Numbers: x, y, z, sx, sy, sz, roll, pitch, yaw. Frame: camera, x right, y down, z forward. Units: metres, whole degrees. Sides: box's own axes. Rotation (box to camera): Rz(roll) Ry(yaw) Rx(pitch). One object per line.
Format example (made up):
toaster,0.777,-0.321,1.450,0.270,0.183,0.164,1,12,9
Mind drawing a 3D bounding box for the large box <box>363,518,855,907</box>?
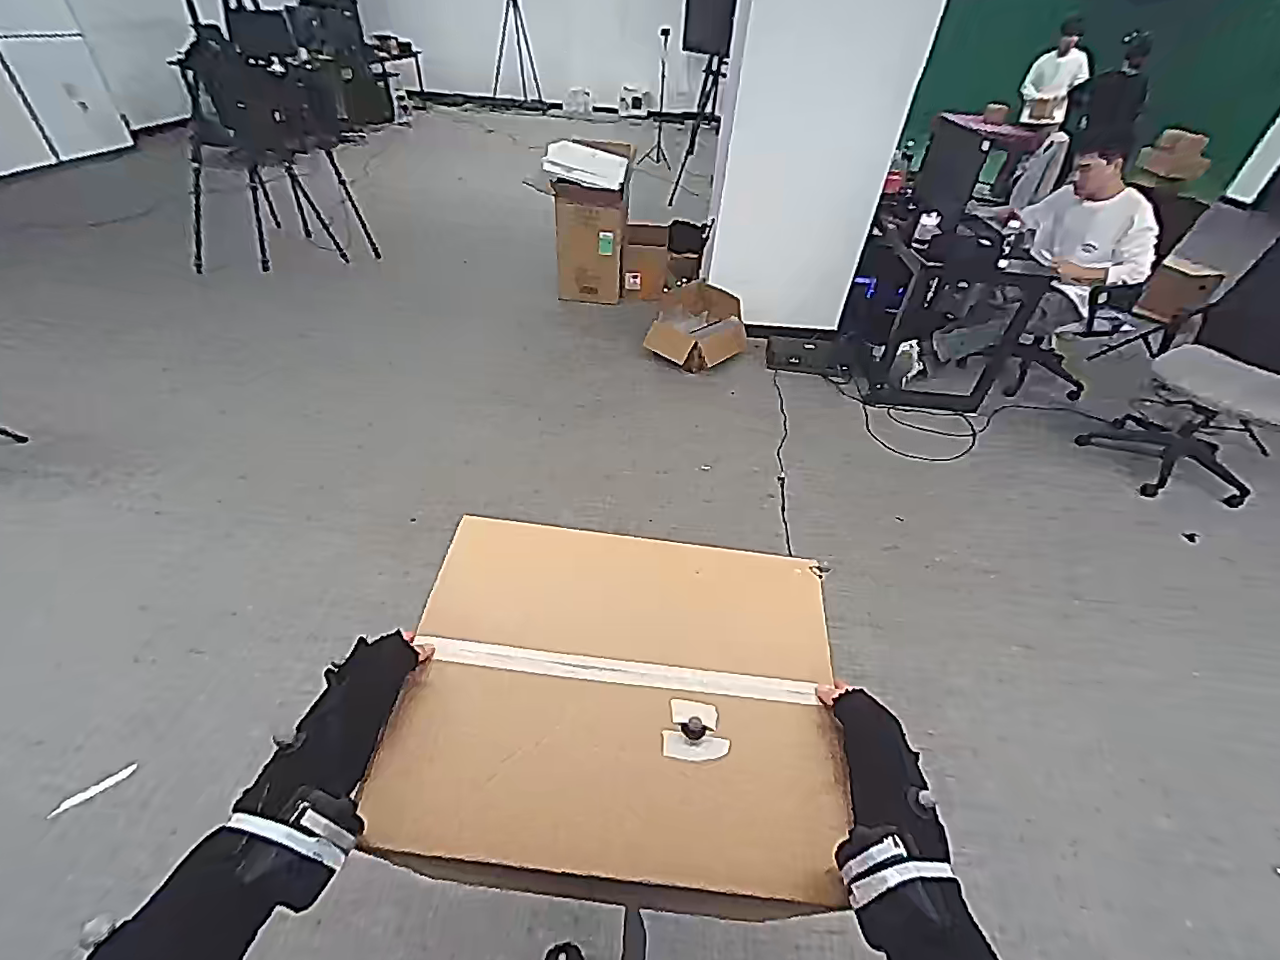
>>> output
large box,-0.026,0.277,0.634,0.408,0.320,0.320,8,49,0
